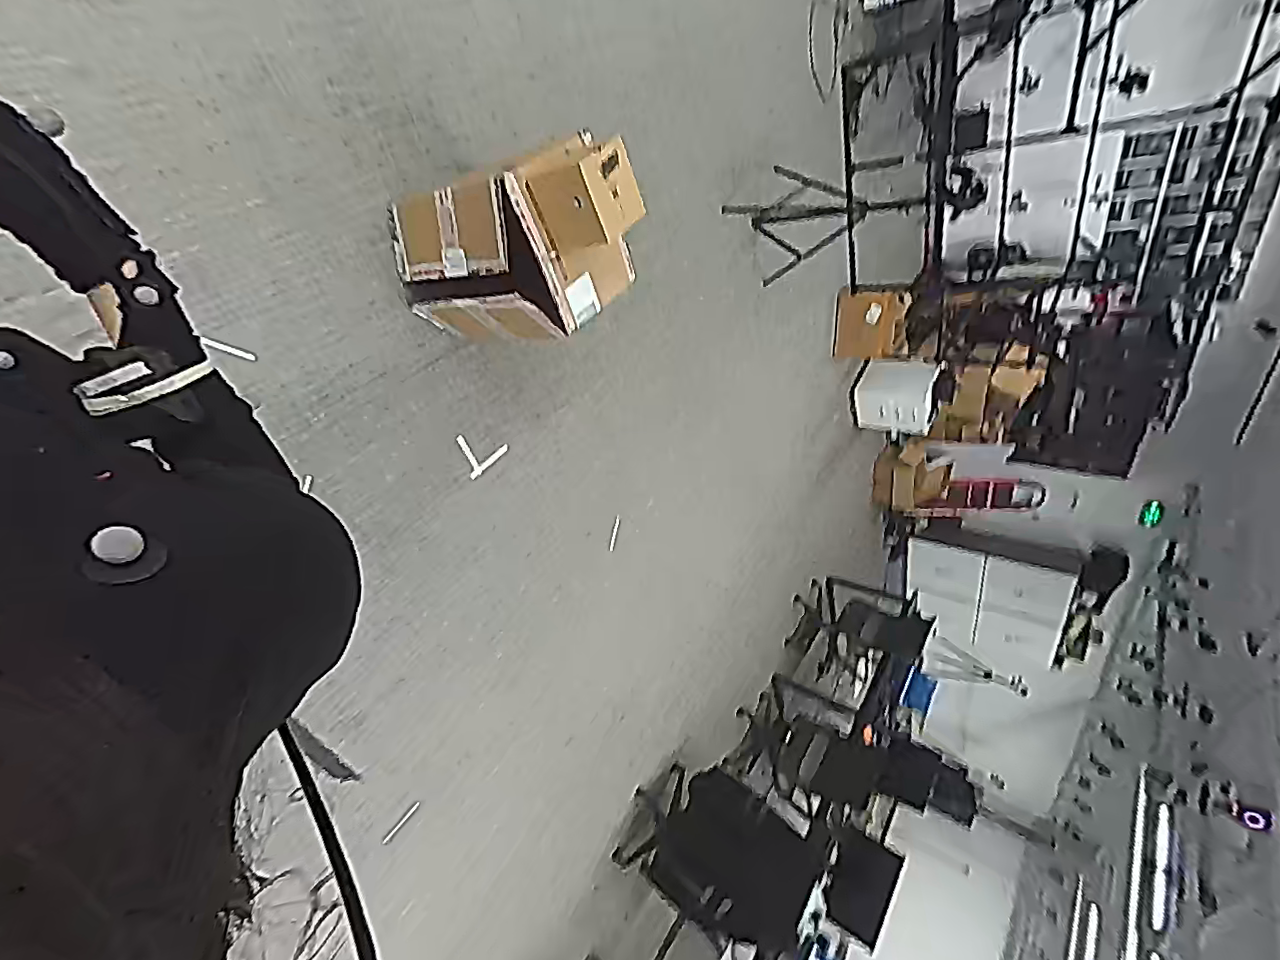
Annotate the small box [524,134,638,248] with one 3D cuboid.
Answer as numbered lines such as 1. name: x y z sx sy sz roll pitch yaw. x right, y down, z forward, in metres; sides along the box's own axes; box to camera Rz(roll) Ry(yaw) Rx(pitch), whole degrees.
1. small box: -0.136 -0.663 1.254 0.168 0.176 0.179 -53 136 -31
